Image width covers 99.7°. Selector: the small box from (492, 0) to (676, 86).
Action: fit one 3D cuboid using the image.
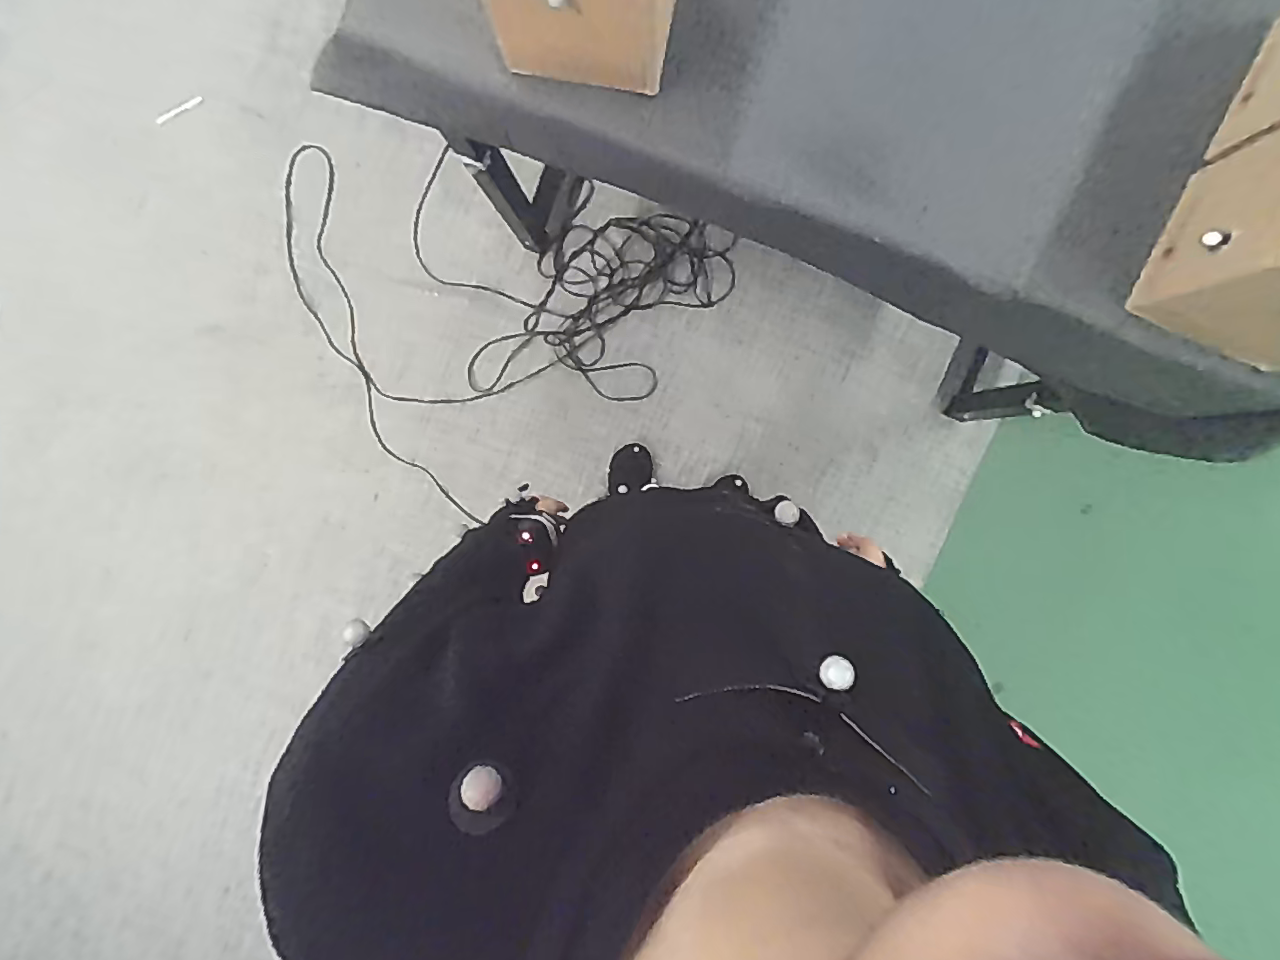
[{"bbox_3d":[-0.047,-0.531,0.530,0.179,0.176,0.168,11,93,2],"label":"small box"}]
